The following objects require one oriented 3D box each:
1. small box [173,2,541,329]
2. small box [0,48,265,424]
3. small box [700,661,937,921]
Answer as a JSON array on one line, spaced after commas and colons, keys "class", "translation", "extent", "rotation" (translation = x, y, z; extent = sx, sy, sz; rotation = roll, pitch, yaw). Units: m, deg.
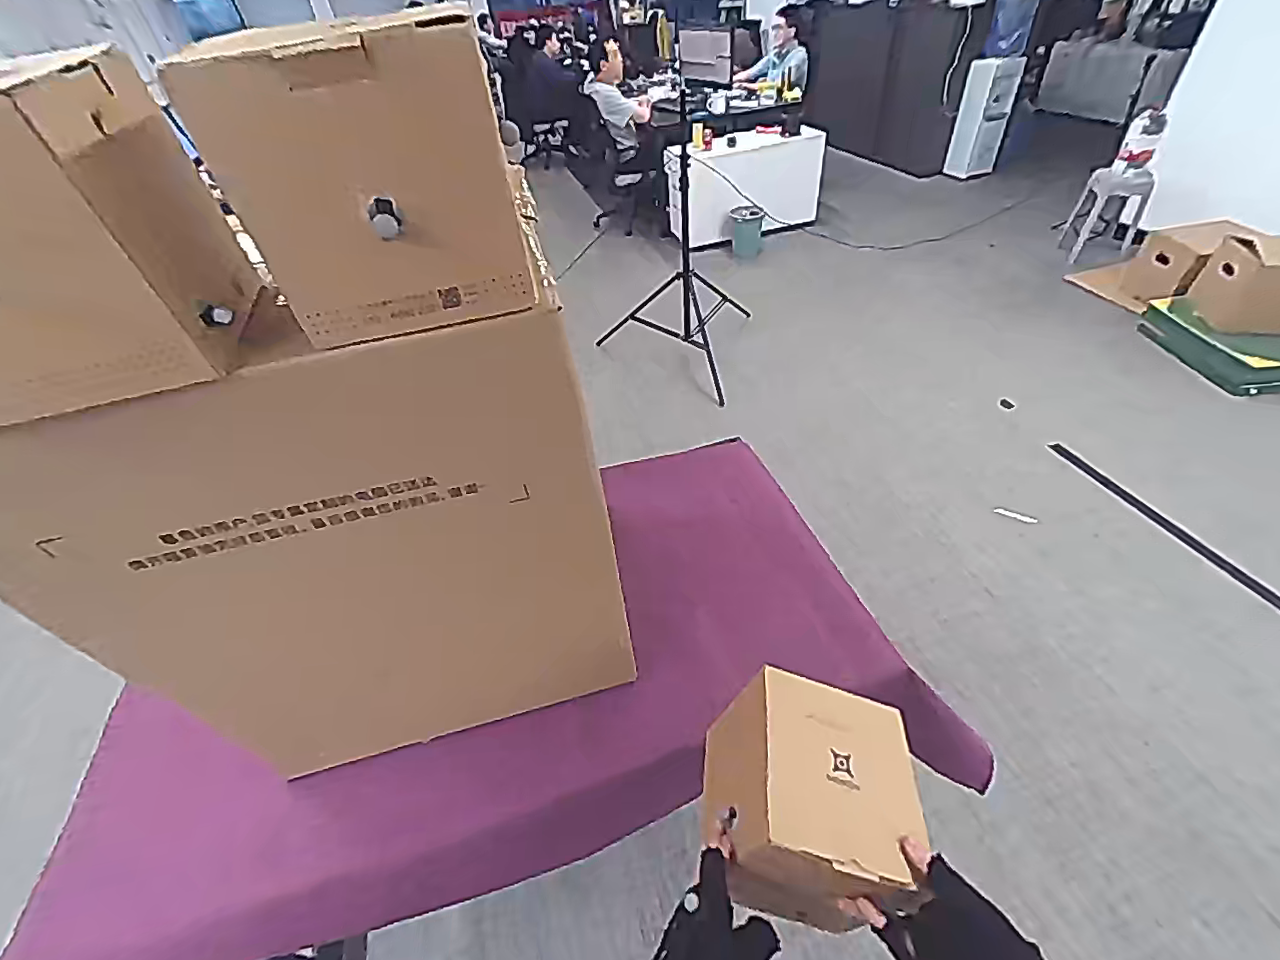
[{"class": "small box", "translation": [-0.177, -0.227, 0.403], "extent": [0.168, 0.176, 0.179], "rotation": [-14, 45, -6]}, {"class": "small box", "translation": [-0.393, -0.160, 0.358], "extent": [0.179, 0.176, 0.168], "rotation": [-16, 45, -8]}, {"class": "small box", "translation": [0.172, 0.335, 0.580], "extent": [0.168, 0.176, 0.179], "rotation": [20, 38, -5]}]
